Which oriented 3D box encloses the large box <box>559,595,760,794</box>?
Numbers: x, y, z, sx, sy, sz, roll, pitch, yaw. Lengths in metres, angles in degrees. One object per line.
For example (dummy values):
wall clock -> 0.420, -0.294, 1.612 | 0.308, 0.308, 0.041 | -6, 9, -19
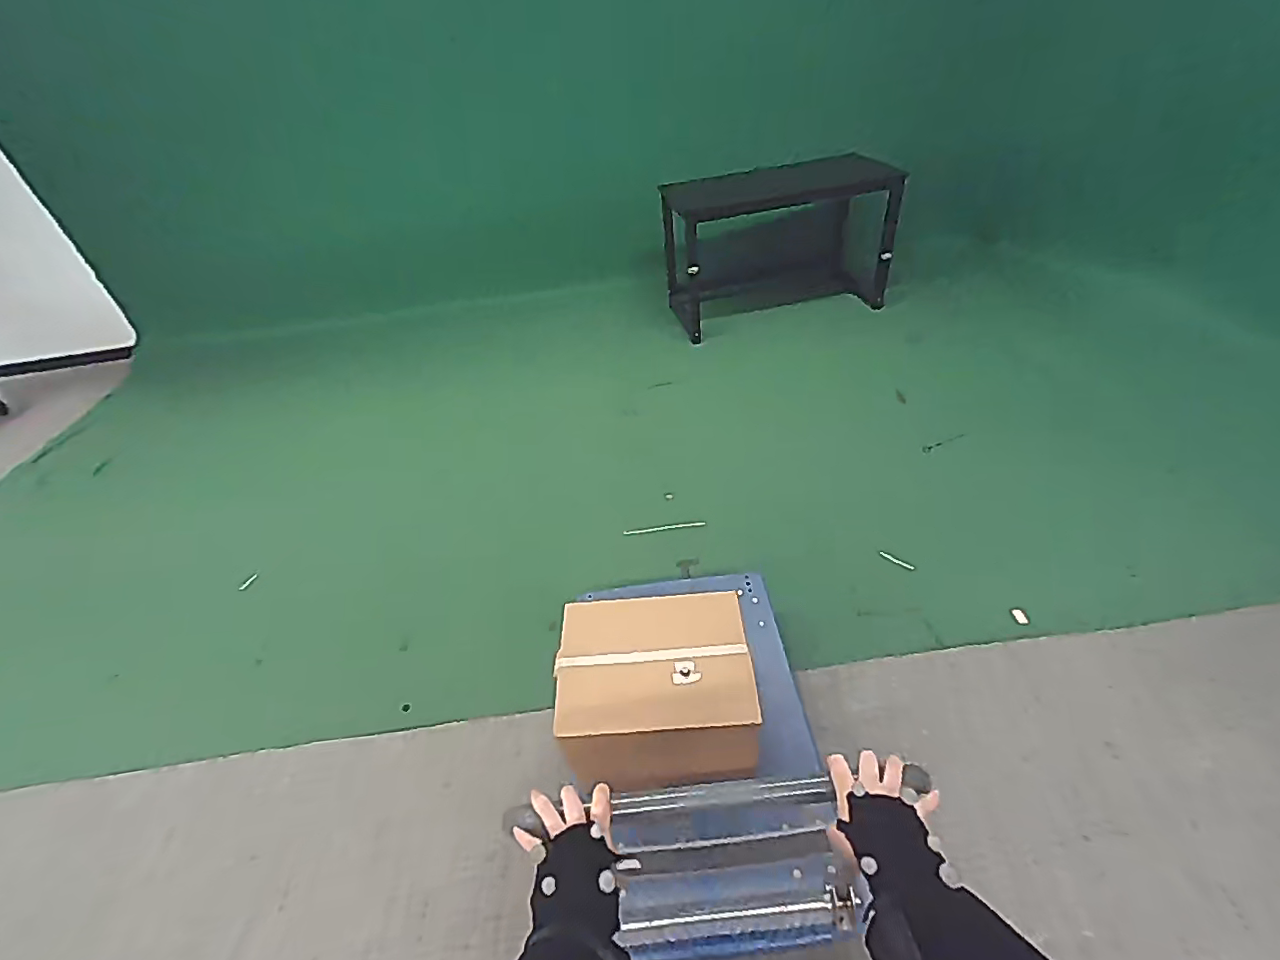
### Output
large box -> 0.043, 0.499, 1.262 | 0.408, 0.320, 0.320 | -4, 41, 2
